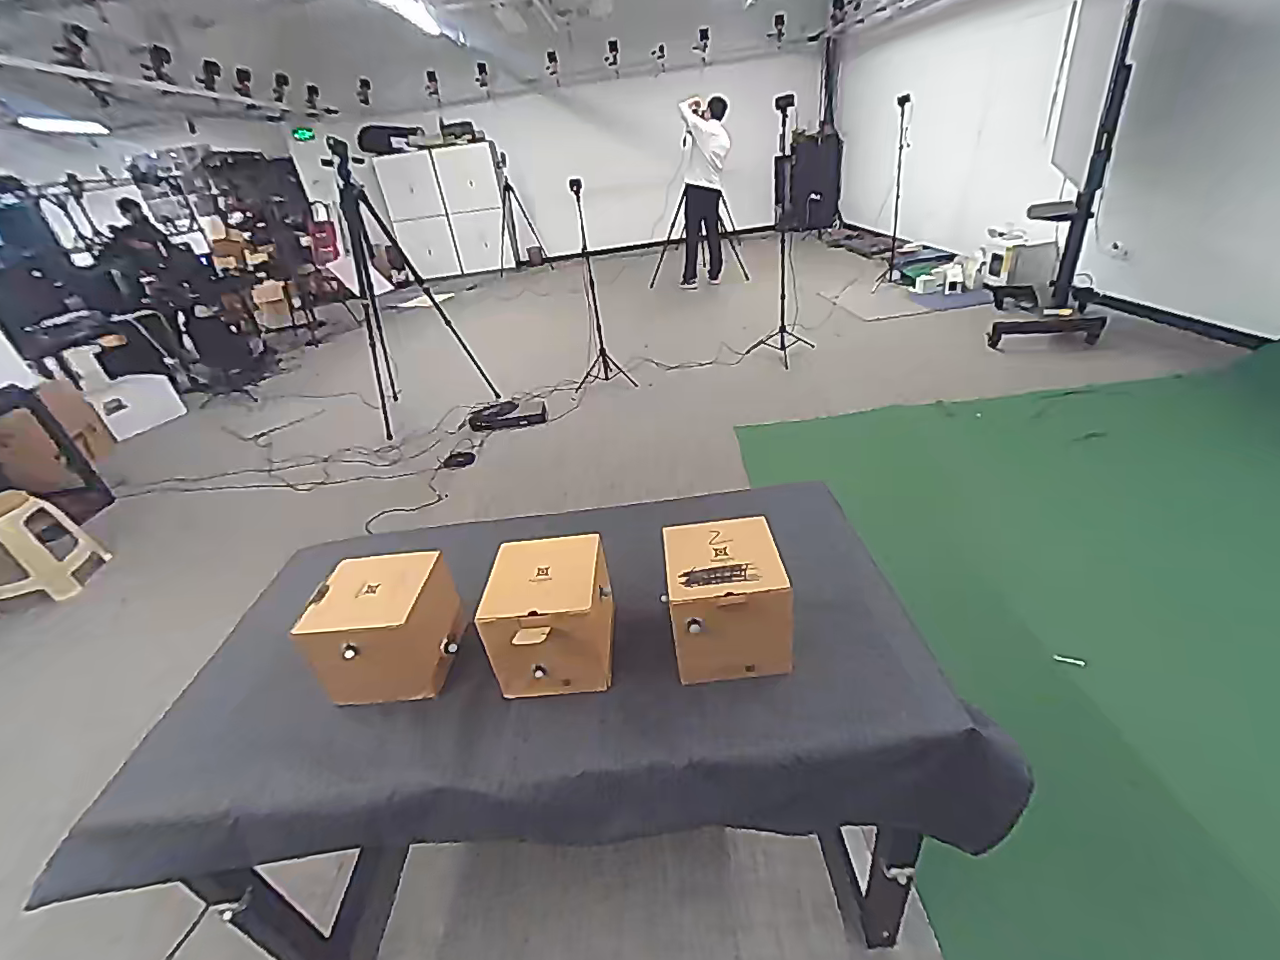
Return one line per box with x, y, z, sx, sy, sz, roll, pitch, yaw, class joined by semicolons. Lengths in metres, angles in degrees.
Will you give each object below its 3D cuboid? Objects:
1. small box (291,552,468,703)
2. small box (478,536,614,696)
-0.403;0.239;0.872;0.179;0.176;0.168;-5;32;3;small box
-0.135;0.212;0.852;0.168;0.176;0.179;-6;31;3;small box
